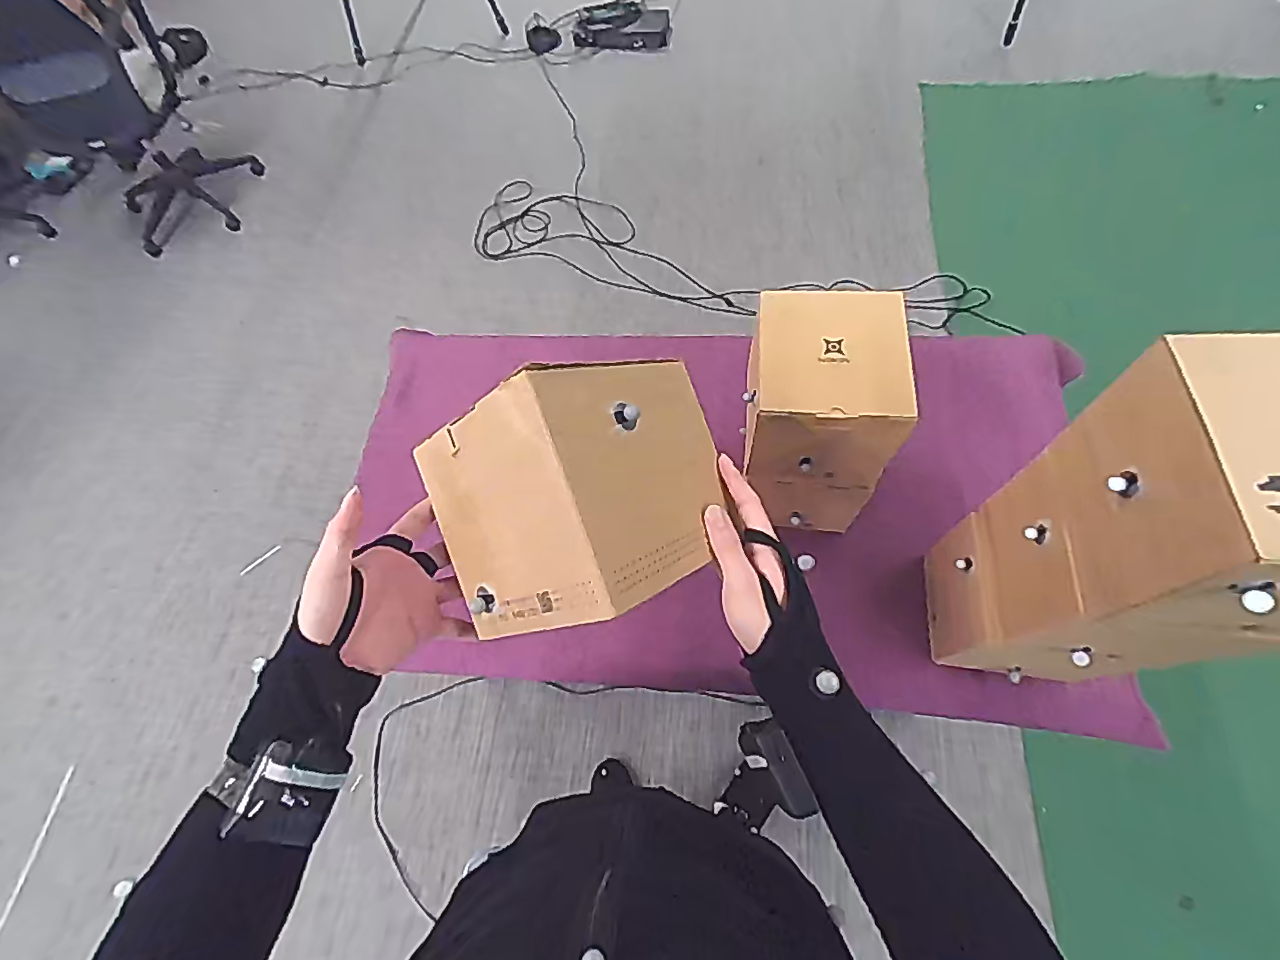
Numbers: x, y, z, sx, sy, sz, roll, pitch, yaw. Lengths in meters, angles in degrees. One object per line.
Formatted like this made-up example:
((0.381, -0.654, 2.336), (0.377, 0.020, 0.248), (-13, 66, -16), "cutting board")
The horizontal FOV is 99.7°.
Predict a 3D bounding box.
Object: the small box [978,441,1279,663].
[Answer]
((0.480, 0.081, 0.565), (0.168, 0.176, 0.179), (5, 65, 10), "small box")

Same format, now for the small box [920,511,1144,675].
((0.493, 0.155, 0.711), (0.179, 0.176, 0.168), (5, 64, 9), "small box")

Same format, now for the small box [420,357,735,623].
((-0.045, 0.012, 0.452), (0.168, 0.179, 0.176), (-21, 87, 41), "small box")

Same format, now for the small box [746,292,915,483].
((0.224, -0.112, 0.683), (0.168, 0.176, 0.179), (2, 66, 7), "small box")

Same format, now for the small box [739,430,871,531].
((0.244, -0.038, 0.827), (0.168, 0.176, 0.179), (6, 66, 9), "small box")
